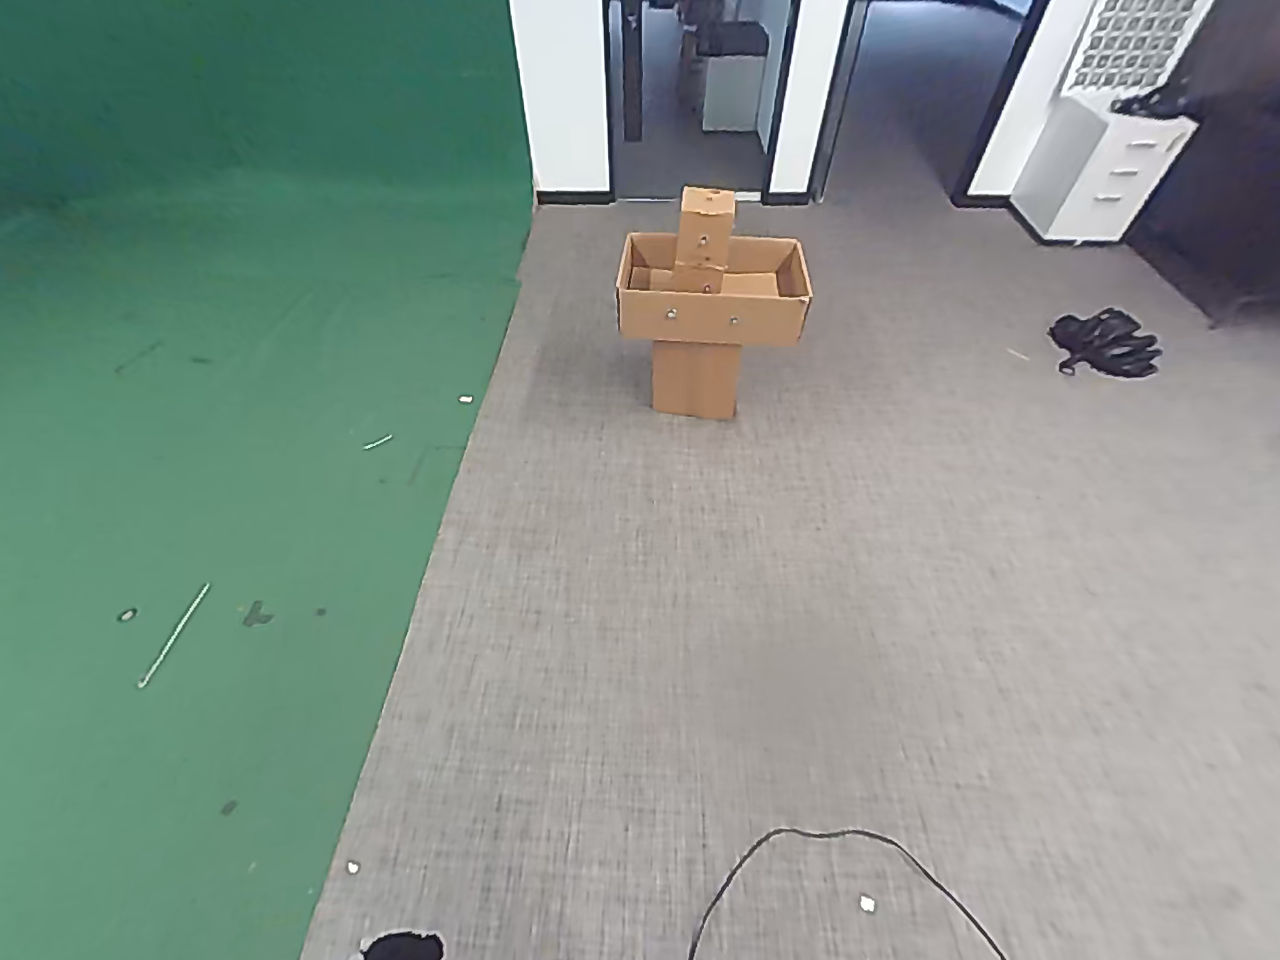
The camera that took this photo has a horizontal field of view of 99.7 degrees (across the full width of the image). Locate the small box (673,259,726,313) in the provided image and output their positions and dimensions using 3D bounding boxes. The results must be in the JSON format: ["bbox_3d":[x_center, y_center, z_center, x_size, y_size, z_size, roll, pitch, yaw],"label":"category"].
[{"bbox_3d":[0.207,-0.698,1.869,0.168,0.176,0.179,7,48,2],"label":"small box"}]

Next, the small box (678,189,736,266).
[{"bbox_3d":[0.216,-0.813,1.752,0.168,0.176,0.179,7,50,2],"label":"small box"}]
